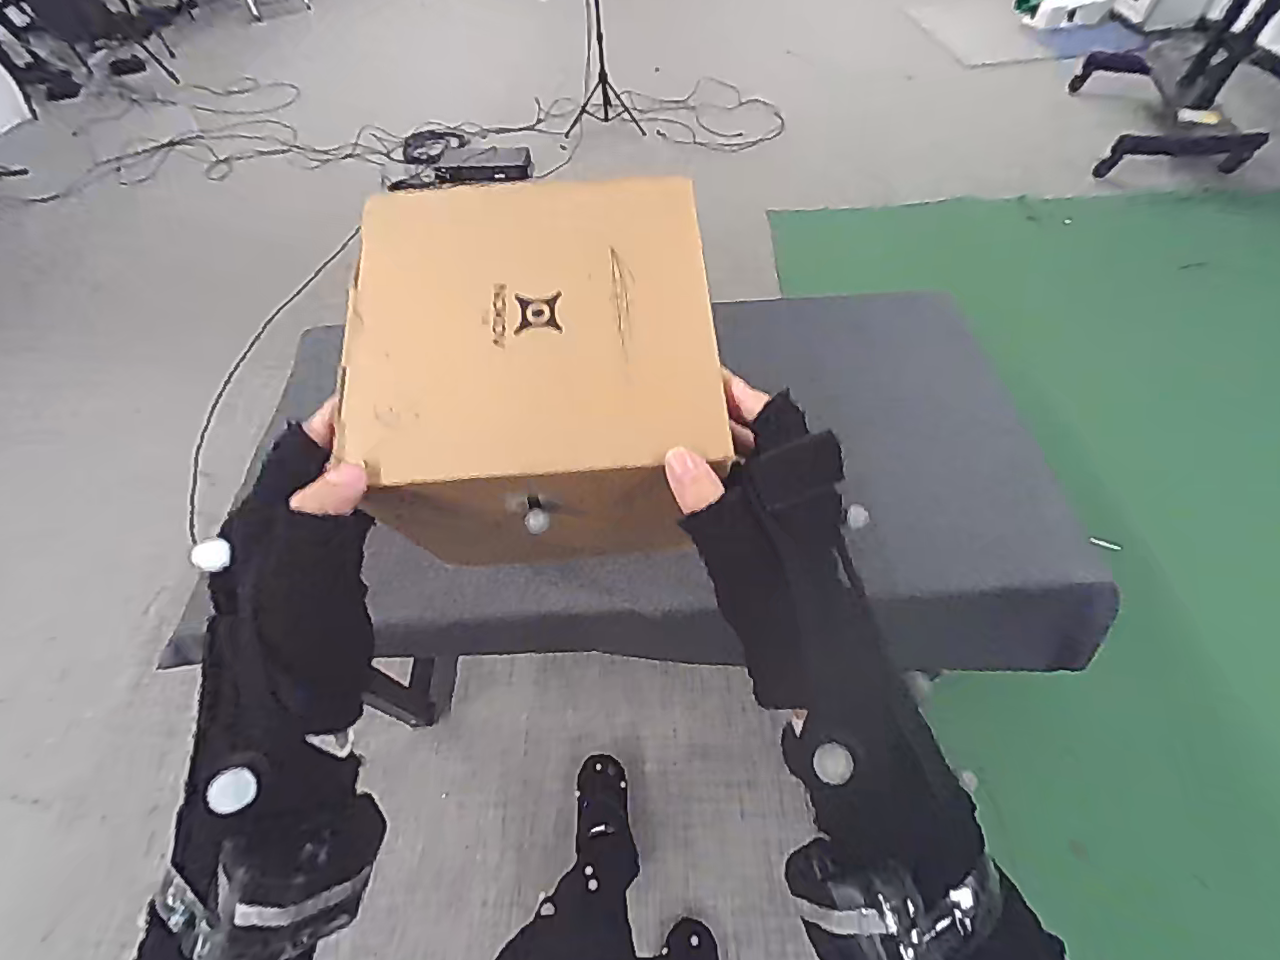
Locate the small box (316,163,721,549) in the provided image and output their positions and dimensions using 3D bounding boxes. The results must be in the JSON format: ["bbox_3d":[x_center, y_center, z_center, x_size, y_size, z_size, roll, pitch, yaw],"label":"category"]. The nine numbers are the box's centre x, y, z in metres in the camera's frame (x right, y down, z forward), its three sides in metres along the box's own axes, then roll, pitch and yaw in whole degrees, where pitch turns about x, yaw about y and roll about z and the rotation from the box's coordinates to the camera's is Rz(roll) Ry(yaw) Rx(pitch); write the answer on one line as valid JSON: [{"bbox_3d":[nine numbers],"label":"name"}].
[{"bbox_3d":[-0.056,-0.058,0.330,0.179,0.176,0.168,-4,71,-3],"label":"small box"}]
